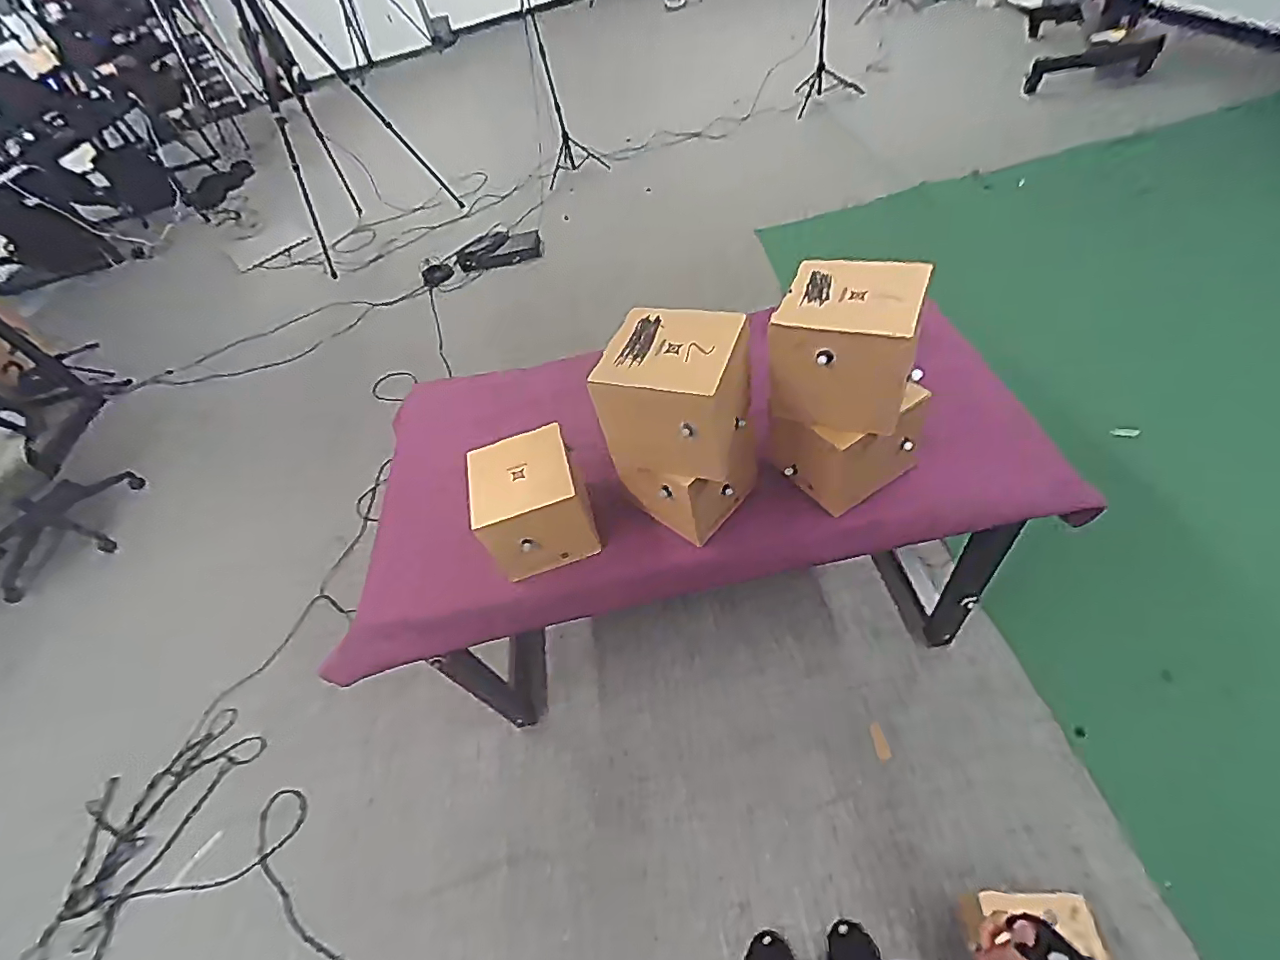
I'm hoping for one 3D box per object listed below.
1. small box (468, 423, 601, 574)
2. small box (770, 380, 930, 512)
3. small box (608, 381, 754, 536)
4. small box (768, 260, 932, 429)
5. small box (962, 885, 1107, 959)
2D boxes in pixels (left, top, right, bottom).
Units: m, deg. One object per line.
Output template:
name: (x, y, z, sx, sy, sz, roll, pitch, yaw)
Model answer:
small box: (-0.177, 0.039, 0.923, 0.168, 0.176, 0.179, -19, 48, -1)
small box: (0.332, -0.082, 0.889, 0.179, 0.176, 0.168, -31, 49, -10)
small box: (0.078, -0.030, 0.911, 0.179, 0.176, 0.168, 31, 64, 33)
small box: (0.295, -0.193, 0.774, 0.179, 0.176, 0.168, 14, 55, 25)
small box: (0.716, 0.853, 0.992, 0.179, 0.176, 0.168, -6, 51, 10)
